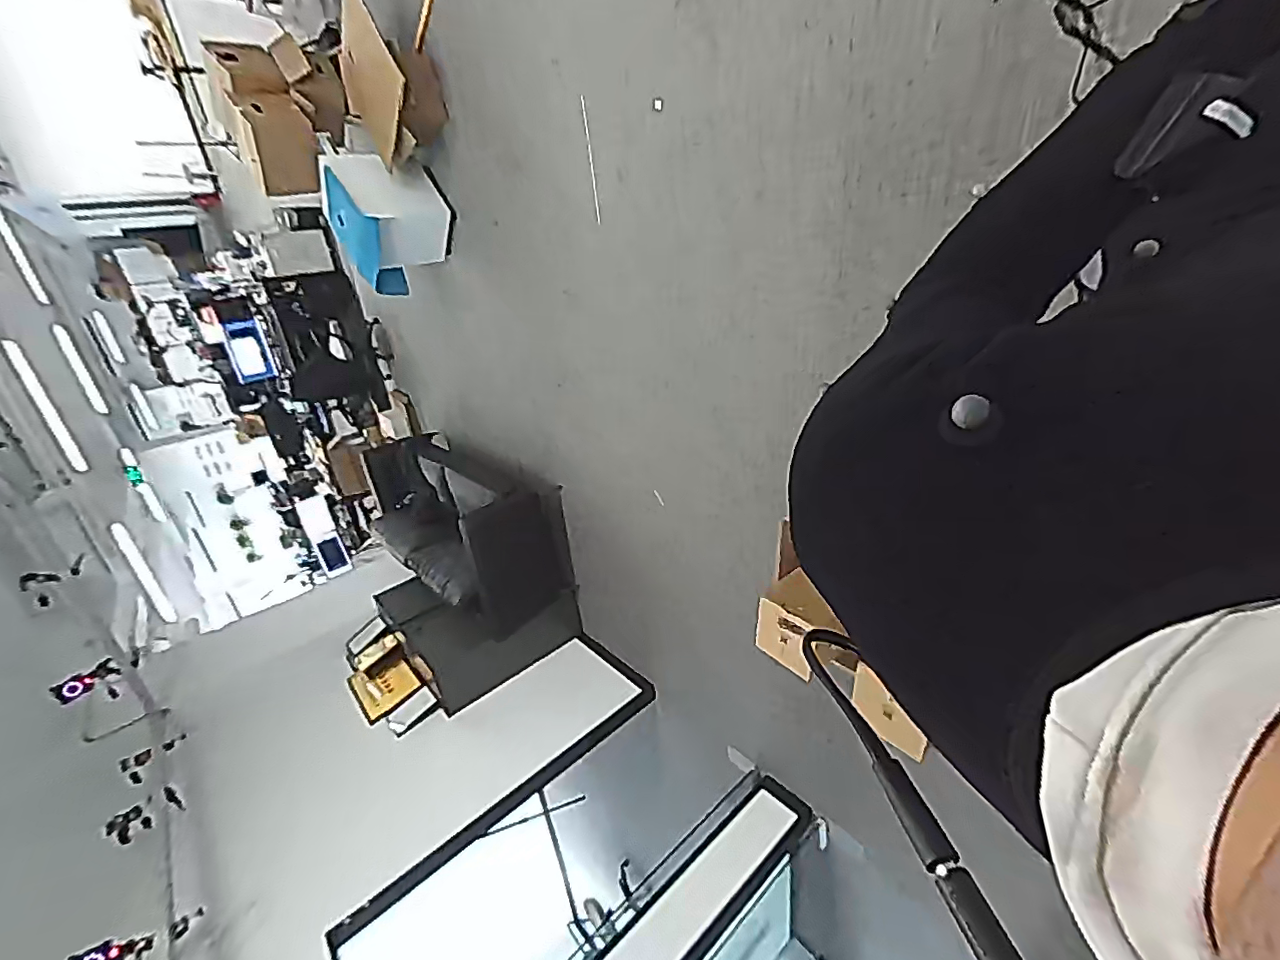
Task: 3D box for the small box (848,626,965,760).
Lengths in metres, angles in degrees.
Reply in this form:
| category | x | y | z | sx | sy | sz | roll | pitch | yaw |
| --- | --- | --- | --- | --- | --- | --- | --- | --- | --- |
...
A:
| category | x | y | z | sx | sy | sz | roll | pitch | yaw |
| --- | --- | --- | --- | --- | --- | --- | --- | --- | --- |
| small box | 0.586 | 0.461 | 1.191 | 0.168 | 0.176 | 0.179 | 26 | 130 | 43 |

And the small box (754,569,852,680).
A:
| category | x | y | z | sx | sy | sz | roll | pitch | yaw |
| --- | --- | --- | --- | --- | --- | --- | --- | --- | --- |
| small box | 0.412 | 0.355 | 1.363 | 0.168 | 0.176 | 0.179 | 29 | 132 | 42 |
